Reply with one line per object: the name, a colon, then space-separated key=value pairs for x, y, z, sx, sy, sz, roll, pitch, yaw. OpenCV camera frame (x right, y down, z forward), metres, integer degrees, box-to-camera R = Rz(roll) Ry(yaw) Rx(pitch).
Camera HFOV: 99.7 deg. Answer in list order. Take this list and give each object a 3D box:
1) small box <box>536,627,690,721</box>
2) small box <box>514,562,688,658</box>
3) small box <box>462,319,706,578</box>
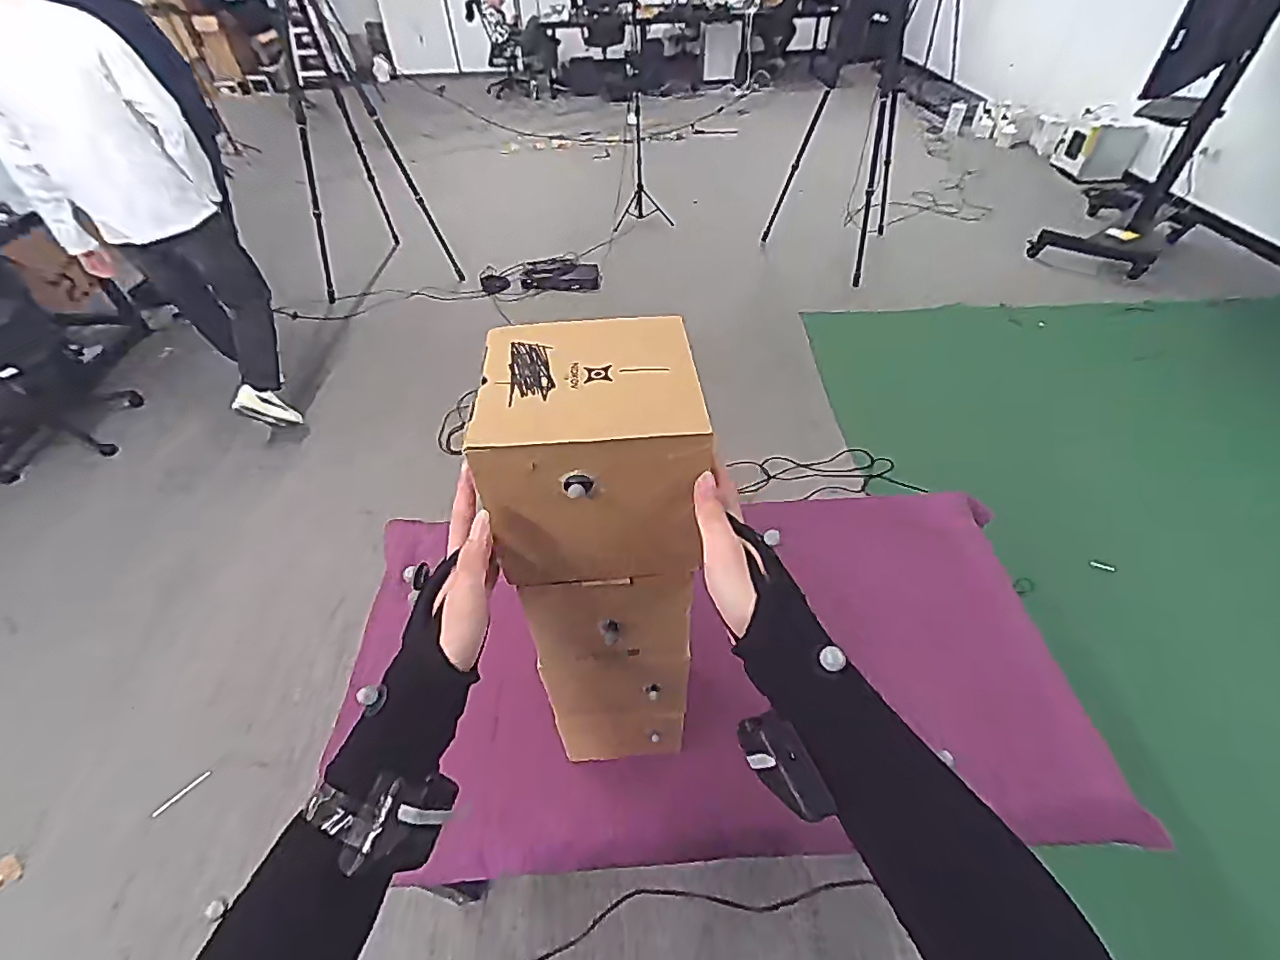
small box: x=-0.032 y=0.205 z=0.721 sx=0.179 sy=0.176 sz=0.168 roll=-4 pitch=45 yaw=0
small box: x=-0.038 y=0.087 z=0.609 sx=0.168 sy=0.176 sz=0.179 roll=-4 pitch=46 yaw=-2
small box: x=-0.041 y=-0.025 z=0.488 sx=0.179 sy=0.176 sz=0.168 roll=-4 pitch=45 yaw=-2
